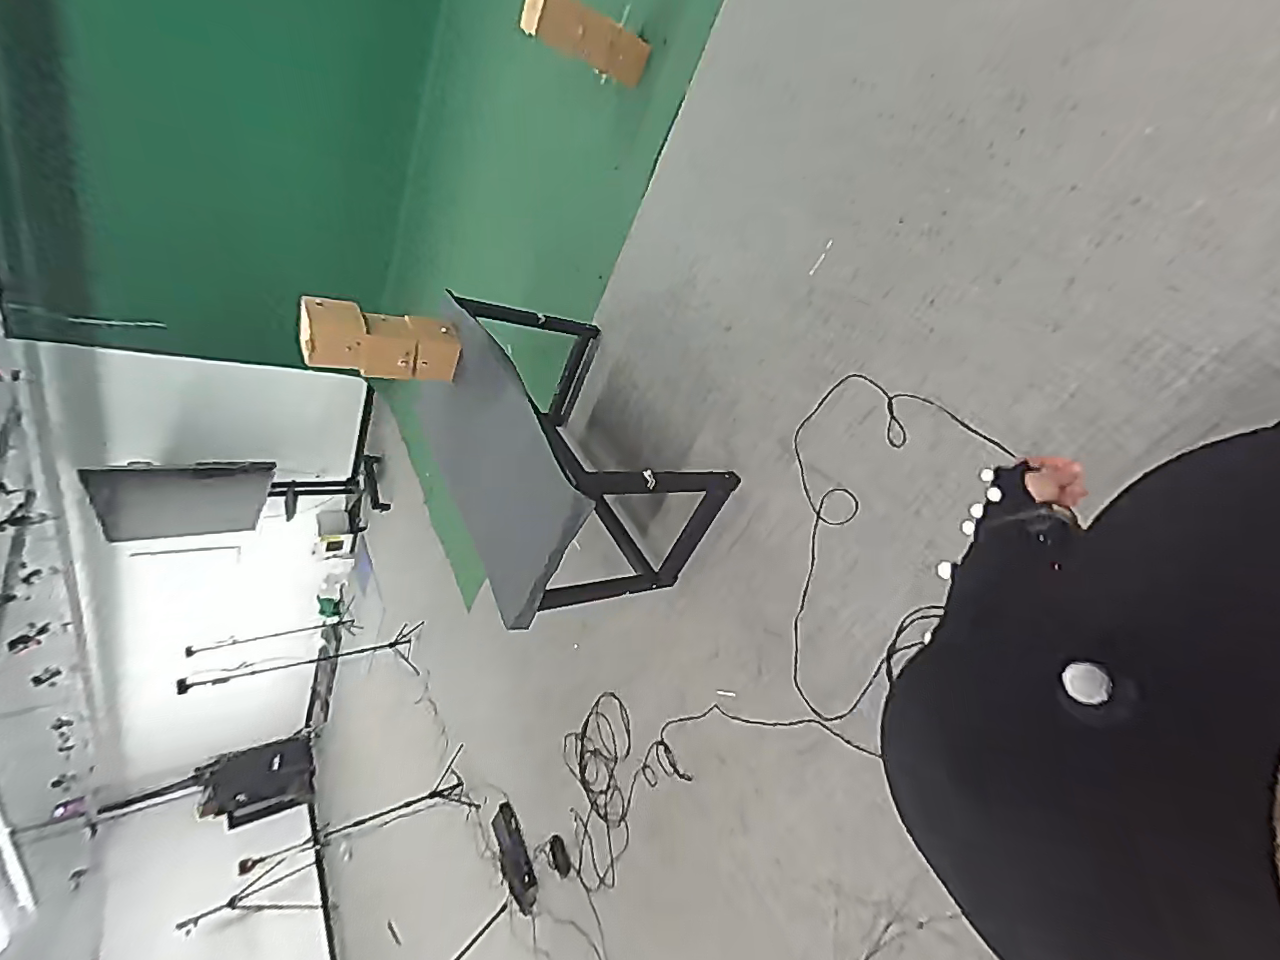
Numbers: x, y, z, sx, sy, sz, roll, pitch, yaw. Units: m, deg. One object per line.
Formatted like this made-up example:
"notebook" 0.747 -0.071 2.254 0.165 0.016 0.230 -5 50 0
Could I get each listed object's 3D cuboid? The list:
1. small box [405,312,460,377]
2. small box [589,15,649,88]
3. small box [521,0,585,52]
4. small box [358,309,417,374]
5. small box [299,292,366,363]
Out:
"small box" -0.802 -0.508 2.058 0.168 0.176 0.179 57 132 31
"small box" -0.085 -1.842 2.328 0.168 0.176 0.179 56 130 32
"small box" -0.341 -1.831 2.122 0.168 0.176 0.179 56 130 34
"small box" -0.922 -0.494 1.950 0.179 0.176 0.168 49 129 35
"small box" -1.048 -0.511 1.842 0.179 0.176 0.168 55 133 33
